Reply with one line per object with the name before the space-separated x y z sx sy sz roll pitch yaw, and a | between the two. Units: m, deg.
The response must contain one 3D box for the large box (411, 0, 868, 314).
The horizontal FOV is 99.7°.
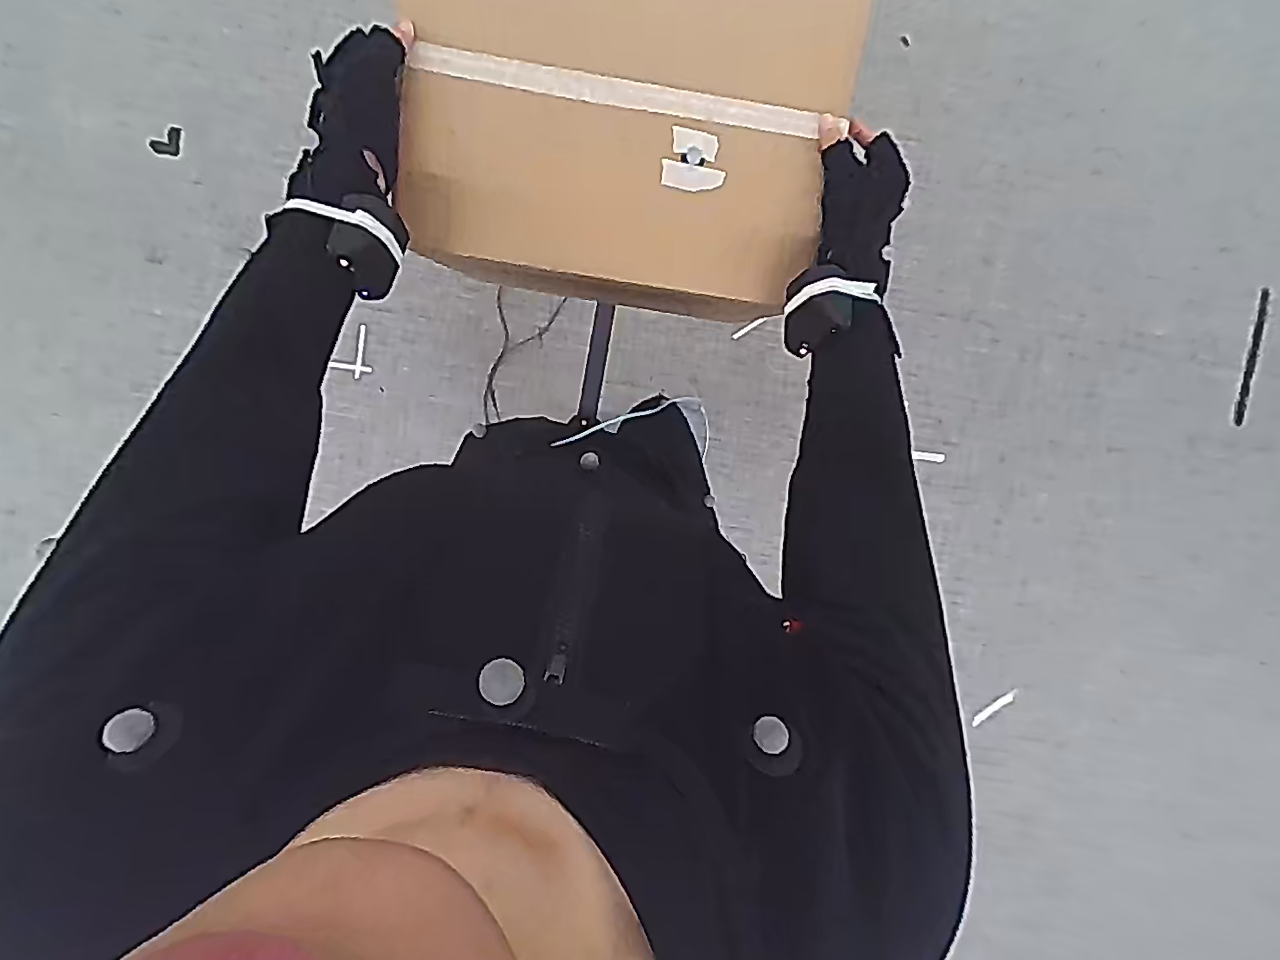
large box | -0.013 -0.389 0.640 0.408 0.320 0.320 7 104 -5
